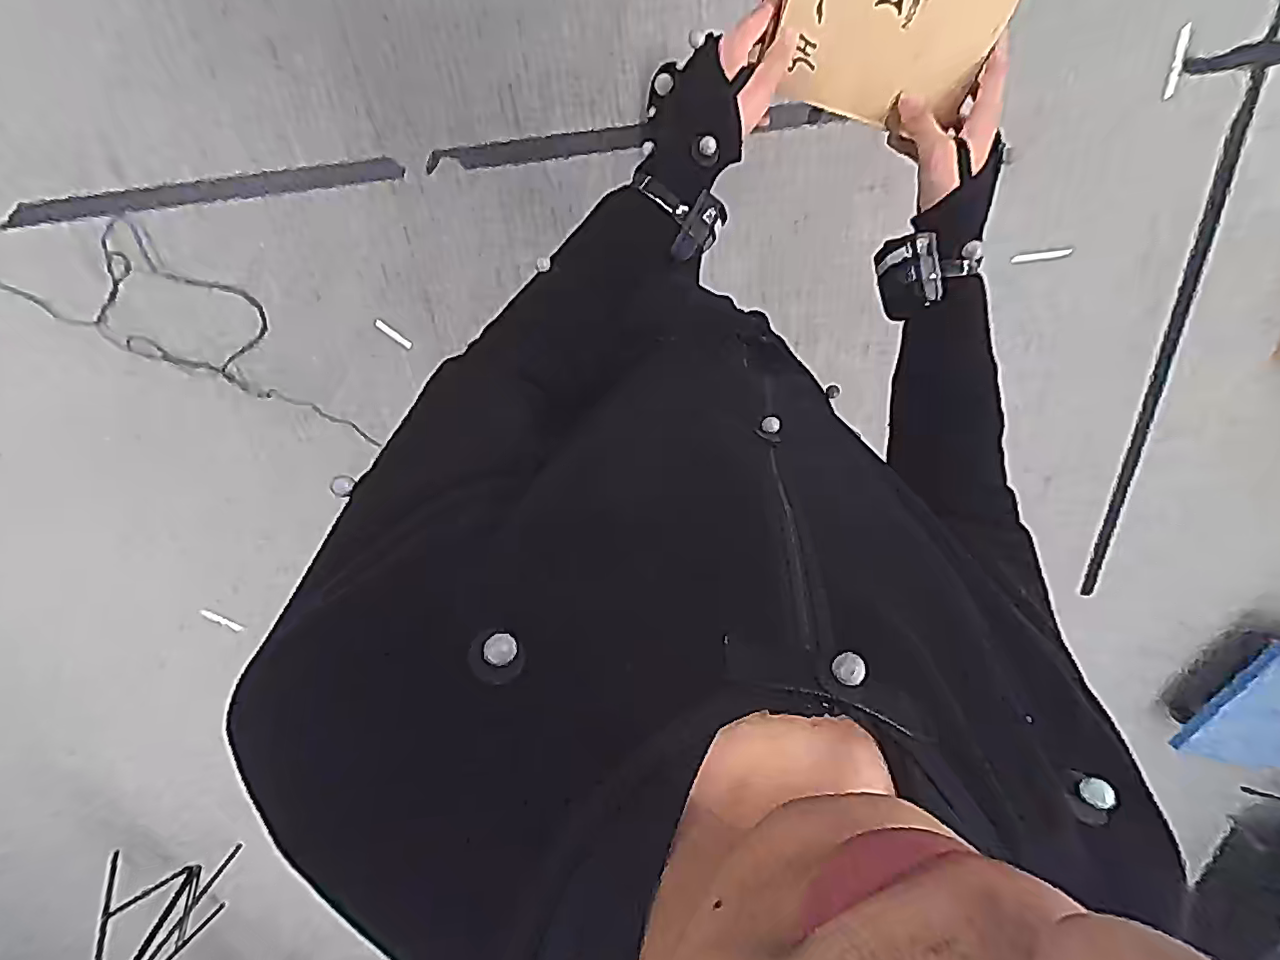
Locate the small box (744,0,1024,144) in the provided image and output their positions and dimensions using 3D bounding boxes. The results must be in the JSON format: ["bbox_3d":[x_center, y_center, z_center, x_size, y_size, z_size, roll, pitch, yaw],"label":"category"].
[{"bbox_3d":[0.209,-0.426,0.475,0.179,0.176,0.168,13,128,-9],"label":"small box"}]
